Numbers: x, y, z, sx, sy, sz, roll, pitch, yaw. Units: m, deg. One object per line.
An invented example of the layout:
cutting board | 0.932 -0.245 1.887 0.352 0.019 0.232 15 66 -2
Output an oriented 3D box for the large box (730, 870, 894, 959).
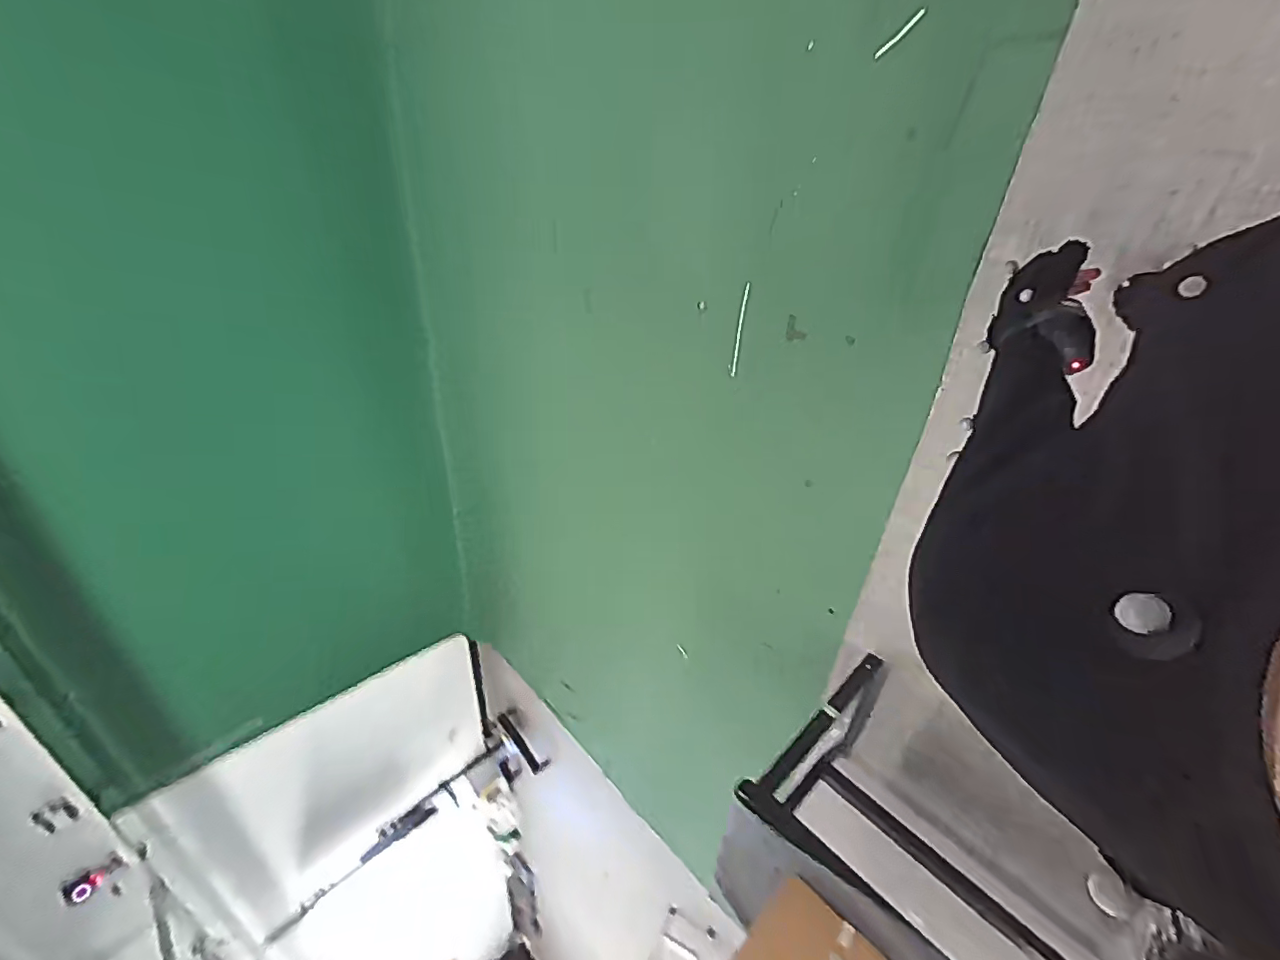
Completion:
large box | 0.379 1.244 1.269 0.320 0.320 0.408 30 131 37
